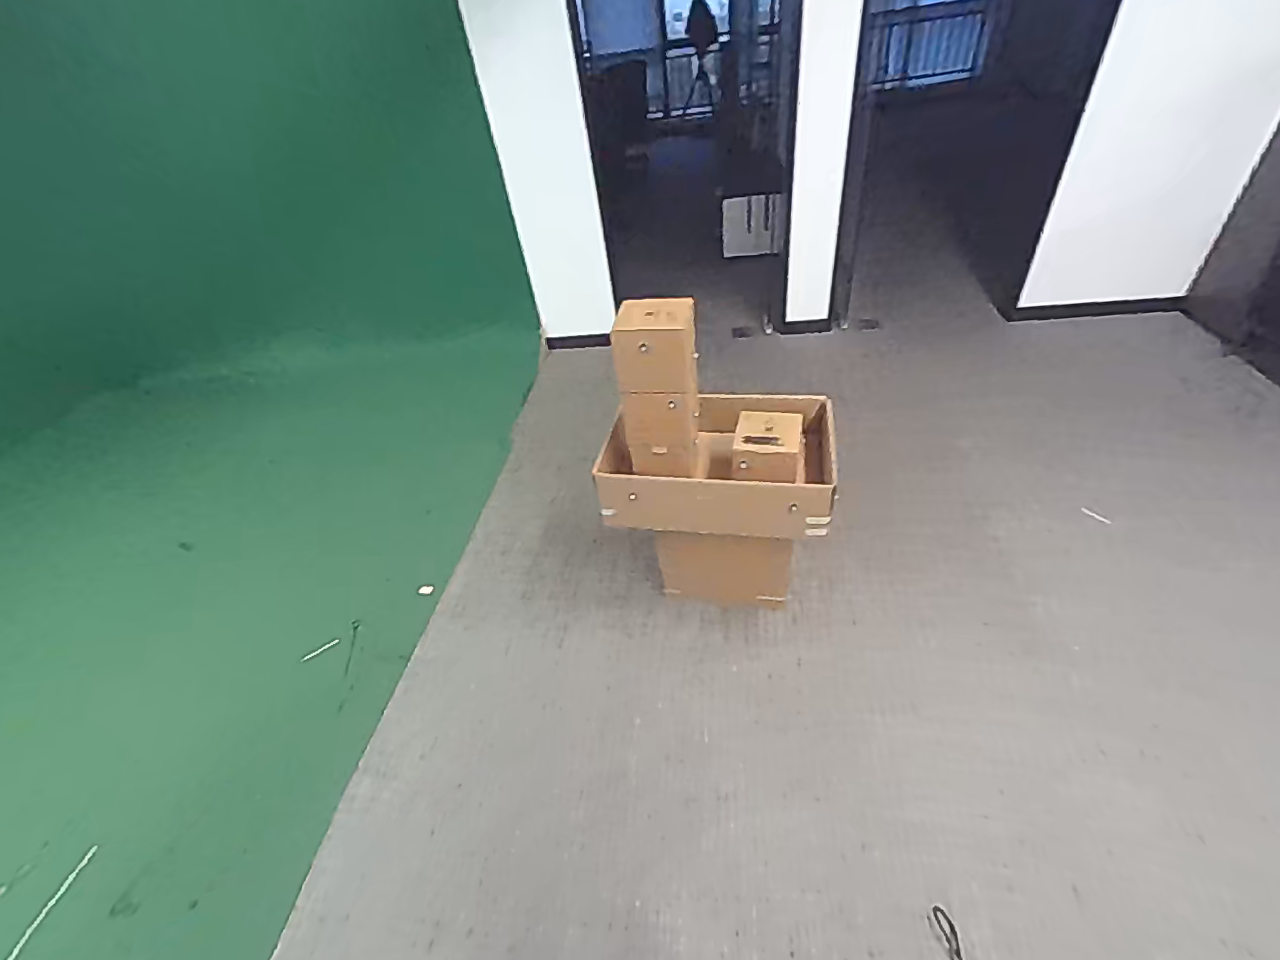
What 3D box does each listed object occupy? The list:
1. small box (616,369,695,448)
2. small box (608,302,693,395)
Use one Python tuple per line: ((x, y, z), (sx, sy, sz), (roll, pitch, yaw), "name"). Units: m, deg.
((0.047, -0.200, 1.433), (0.179, 0.176, 0.168), (4, 42, 11), "small box")
((0.033, -0.322, 1.323), (0.179, 0.176, 0.168), (3, 43, 11), "small box")
